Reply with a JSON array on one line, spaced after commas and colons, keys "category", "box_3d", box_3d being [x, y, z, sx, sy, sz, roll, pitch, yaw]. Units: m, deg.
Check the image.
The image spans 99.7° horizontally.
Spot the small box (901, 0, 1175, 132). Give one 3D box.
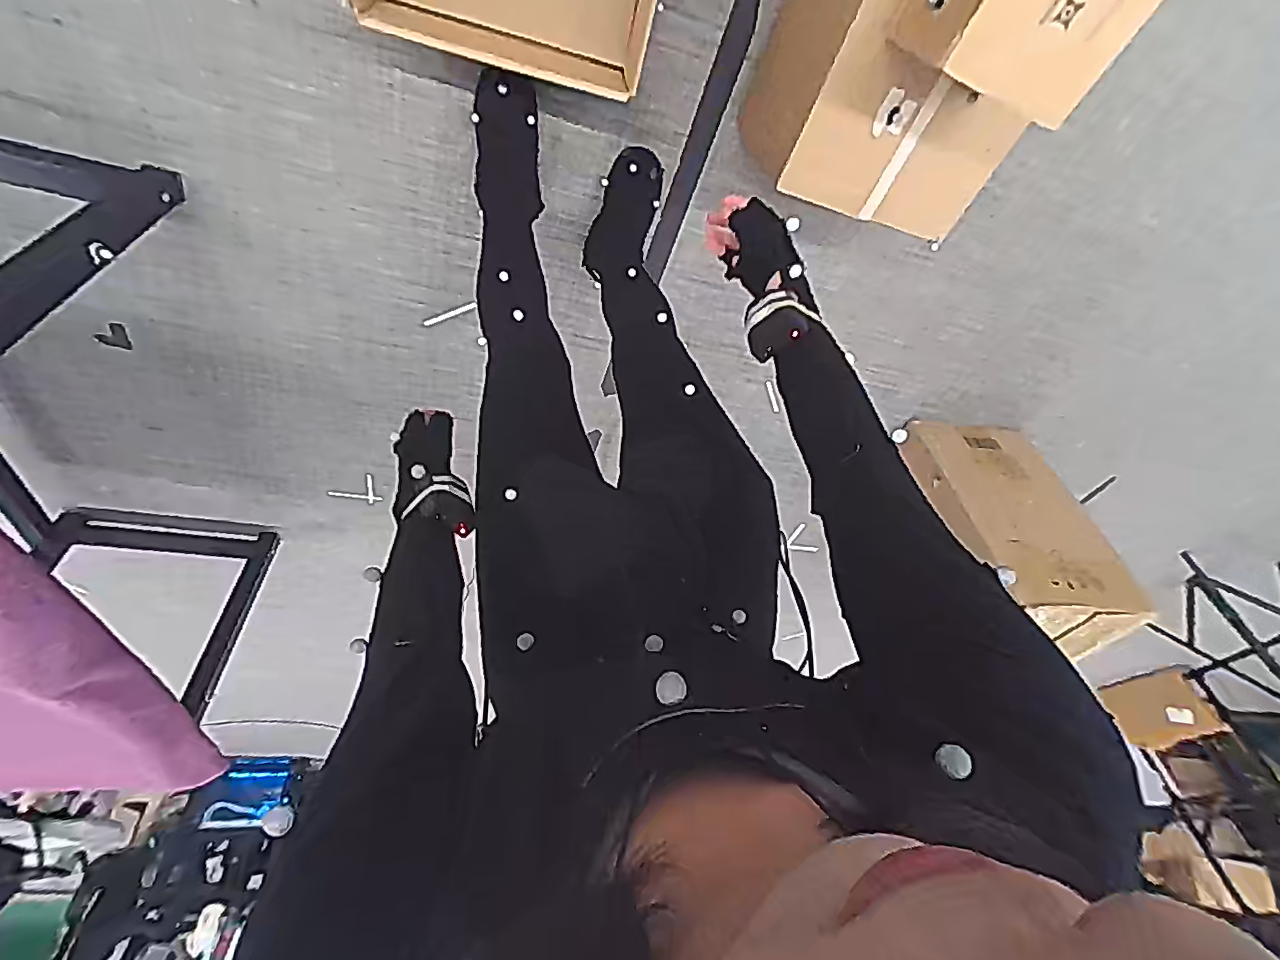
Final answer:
[{"category": "small box", "box_3d": [0.424, -0.521, 0.584, 0.179, 0.176, 0.168, 11, 138, -18]}]

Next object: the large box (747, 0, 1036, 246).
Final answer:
[{"category": "large box", "box_3d": [0.406, -0.647, 0.808, 0.320, 0.320, 0.408, 10, 137, -15]}]
